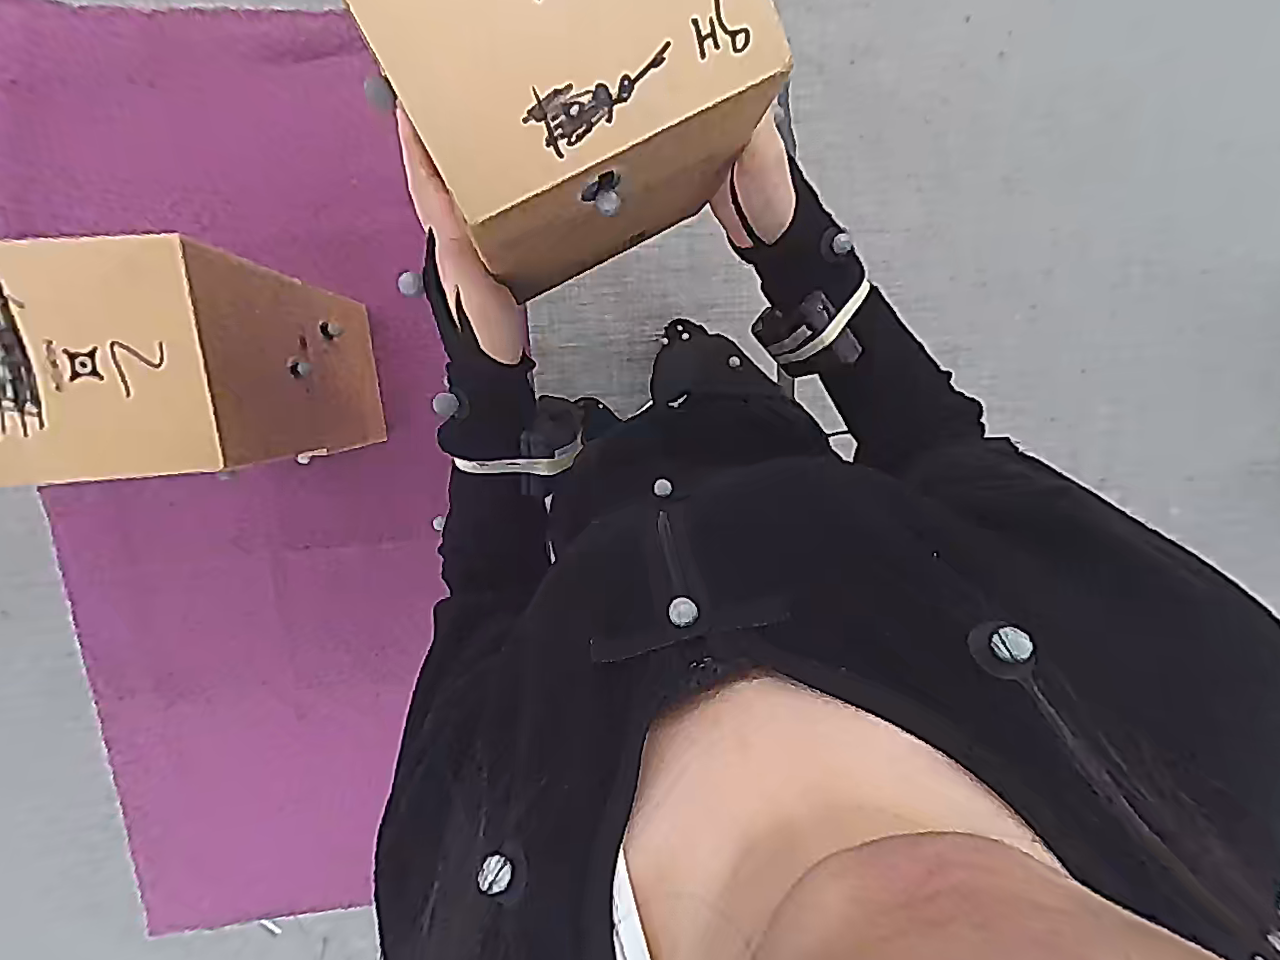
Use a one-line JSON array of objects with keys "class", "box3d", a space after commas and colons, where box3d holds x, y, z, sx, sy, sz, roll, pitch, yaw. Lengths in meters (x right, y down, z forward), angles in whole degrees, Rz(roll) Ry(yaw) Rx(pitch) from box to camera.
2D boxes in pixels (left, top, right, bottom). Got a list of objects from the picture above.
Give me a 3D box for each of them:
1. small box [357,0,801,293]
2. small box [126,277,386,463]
[{"class": "small box", "box3d": [-0.048, -0.234, 0.300, 0.168, 0.176, 0.179, -28, 98, -4]}, {"class": "small box", "box3d": [-0.414, -0.121, 0.617, 0.168, 0.176, 0.179, -5, 101, -3]}]
